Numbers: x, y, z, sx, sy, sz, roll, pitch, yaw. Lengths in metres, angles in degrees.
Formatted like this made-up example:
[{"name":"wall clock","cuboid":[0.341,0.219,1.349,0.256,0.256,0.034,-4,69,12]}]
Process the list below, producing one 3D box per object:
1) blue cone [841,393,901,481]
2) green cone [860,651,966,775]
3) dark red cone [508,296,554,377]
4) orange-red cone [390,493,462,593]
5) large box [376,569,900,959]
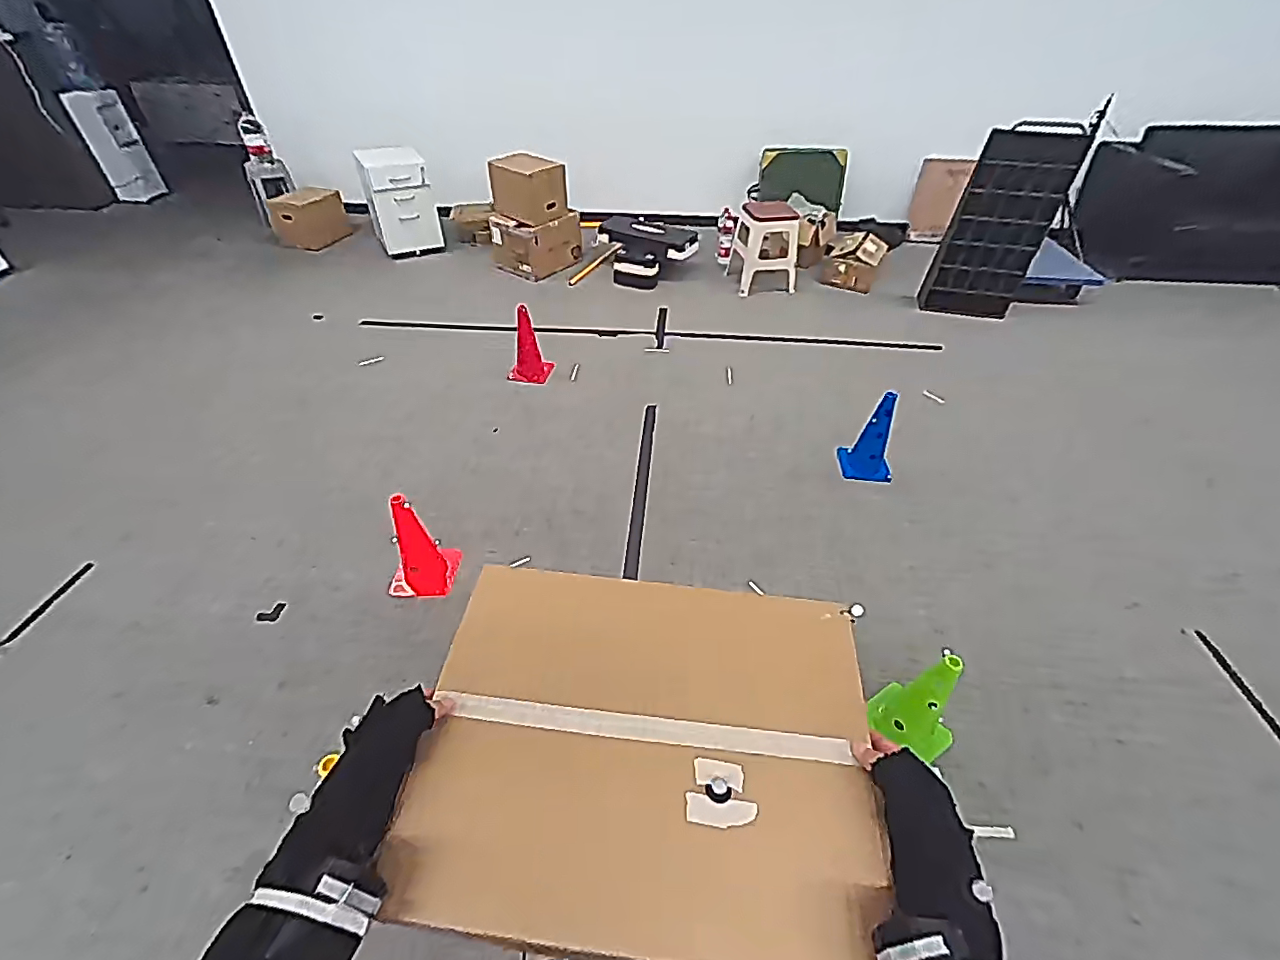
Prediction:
[{"name":"blue cone","cuboid":[0.965,-0.186,2.192,0.192,0.380,0.193,7,43,4]},{"name":"green cone","cuboid":[0.724,0.548,1.364,0.202,0.368,0.200,-22,48,-25]},{"name":"dark red cone","cuboid":[-0.552,-0.709,2.659,0.201,0.394,0.202,9,43,6]},{"name":"orange-red cone","cuboid":[-0.724,0.180,1.727,0.198,0.360,0.199,1,44,1]},{"name":"large box","cuboid":[0.004,0.331,0.609,0.408,0.320,0.320,6,47,4]}]
